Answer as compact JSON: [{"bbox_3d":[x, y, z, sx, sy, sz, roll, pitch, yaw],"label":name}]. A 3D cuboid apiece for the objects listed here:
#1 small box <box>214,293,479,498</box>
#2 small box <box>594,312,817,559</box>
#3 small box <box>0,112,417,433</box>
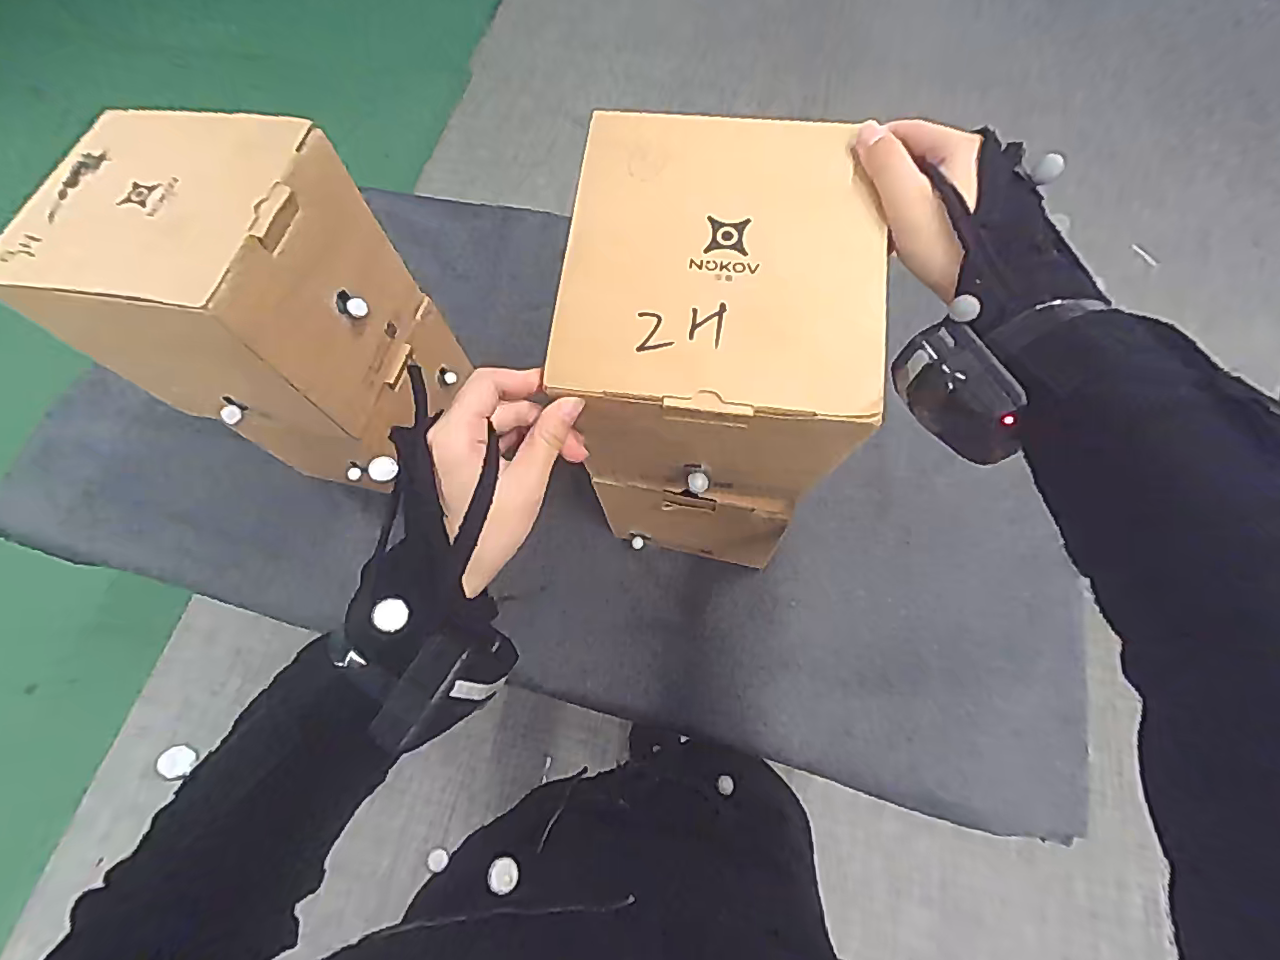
[{"bbox_3d":[-0.301,-0.093,0.588,0.179,0.176,0.168,11,67,9],"label":"small box"},{"bbox_3d":[0.065,-0.034,0.537,0.168,0.176,0.179,11,68,8],"label":"small box"},{"bbox_3d":[-0.312,-0.153,0.435,0.179,0.176,0.168,9,66,7],"label":"small box"}]
